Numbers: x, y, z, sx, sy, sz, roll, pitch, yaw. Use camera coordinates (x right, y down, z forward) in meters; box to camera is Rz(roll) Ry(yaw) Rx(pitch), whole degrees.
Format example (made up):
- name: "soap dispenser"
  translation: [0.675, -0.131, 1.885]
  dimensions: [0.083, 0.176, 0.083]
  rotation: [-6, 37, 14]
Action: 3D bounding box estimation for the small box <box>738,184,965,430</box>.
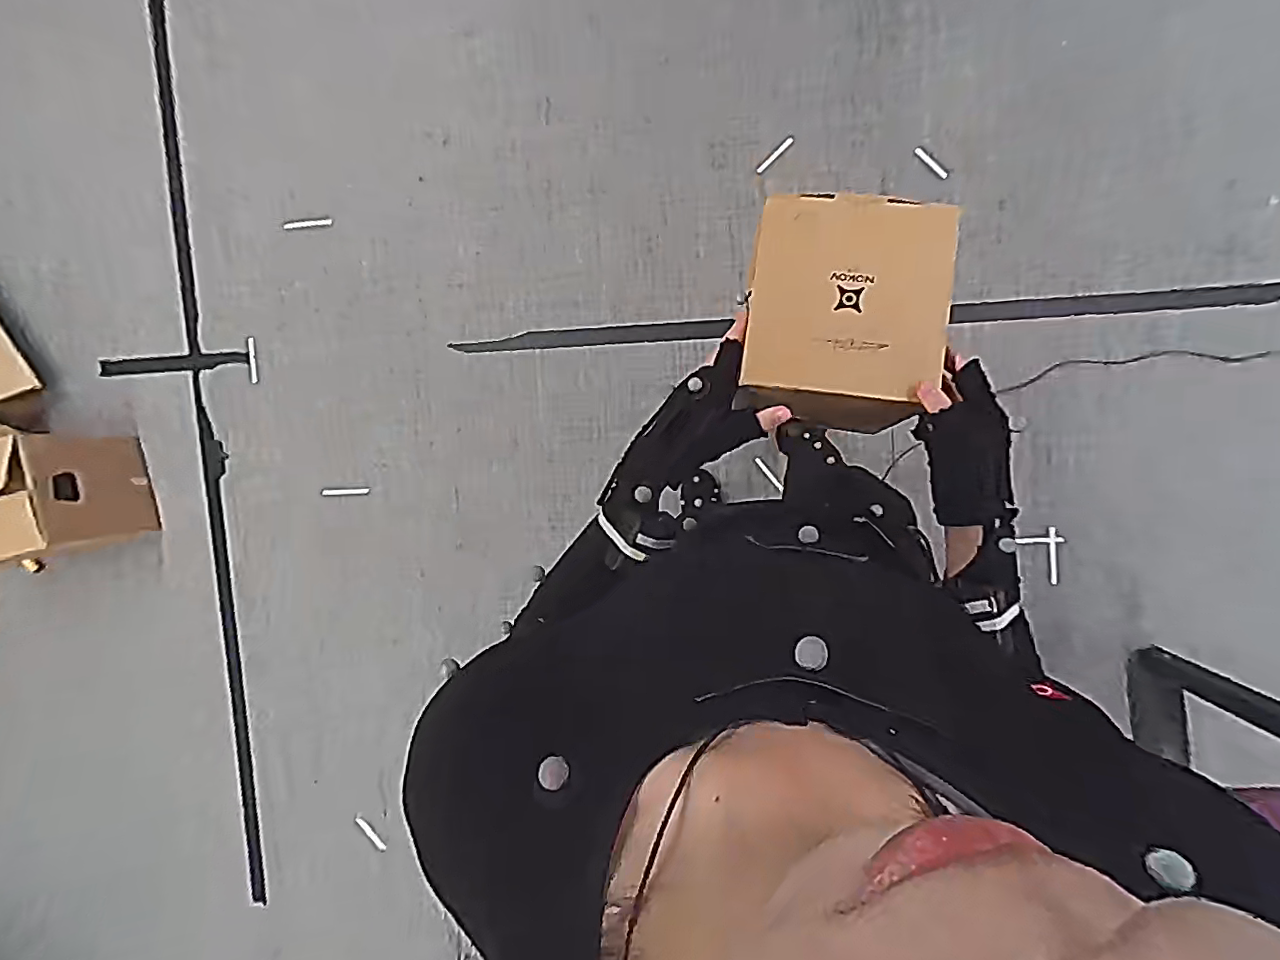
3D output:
- name: "small box"
  translation: [0.192, -0.158, 0.539]
  dimensions: [0.168, 0.176, 0.179]
  rotation: [8, 87, 8]
